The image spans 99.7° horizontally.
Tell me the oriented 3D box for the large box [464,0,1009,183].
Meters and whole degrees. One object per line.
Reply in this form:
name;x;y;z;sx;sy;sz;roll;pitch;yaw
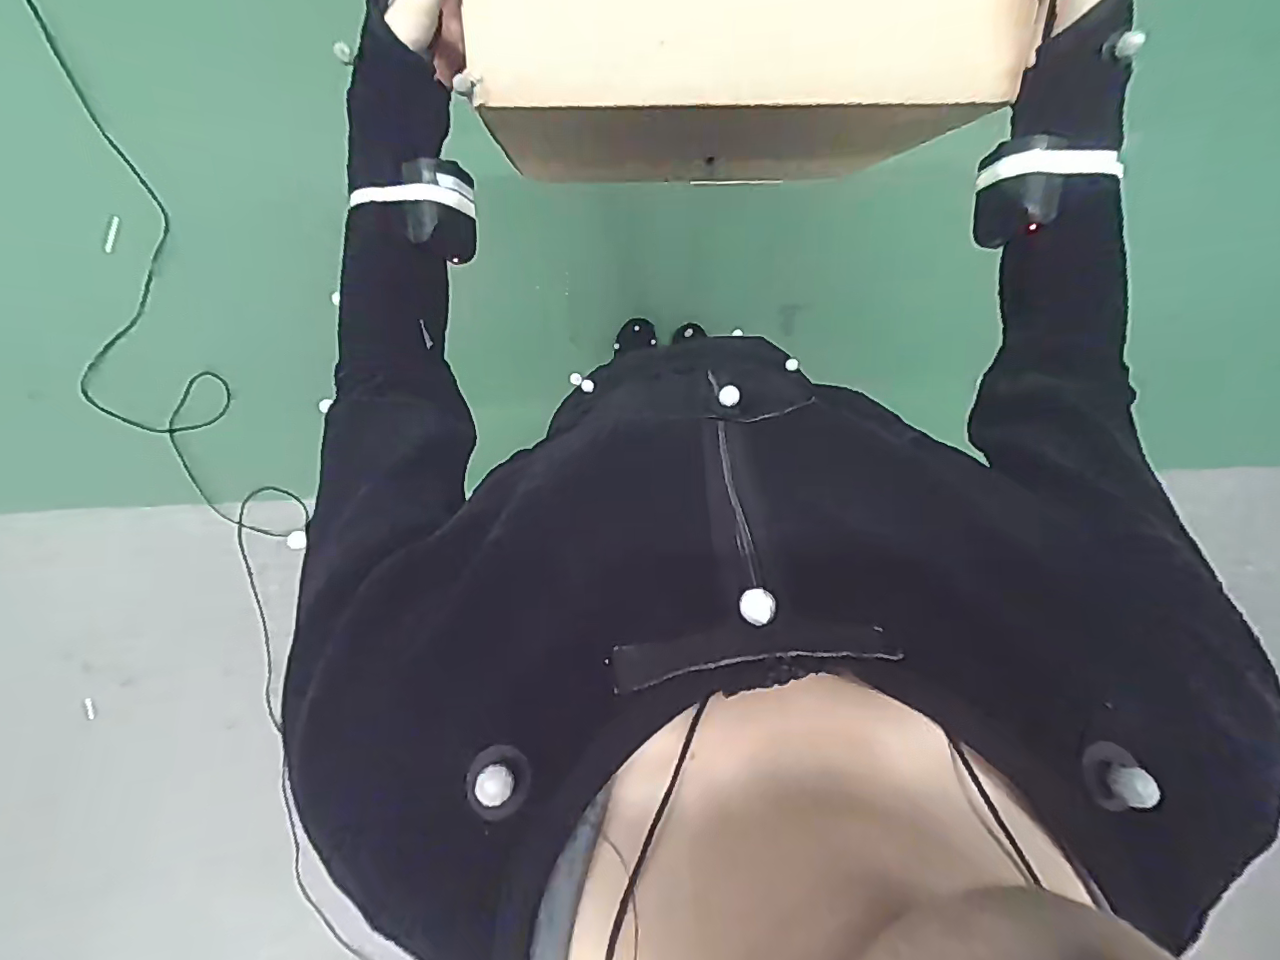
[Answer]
large box;0.064;-0.473;0.498;0.408;0.320;0.320;-3;110;-2
